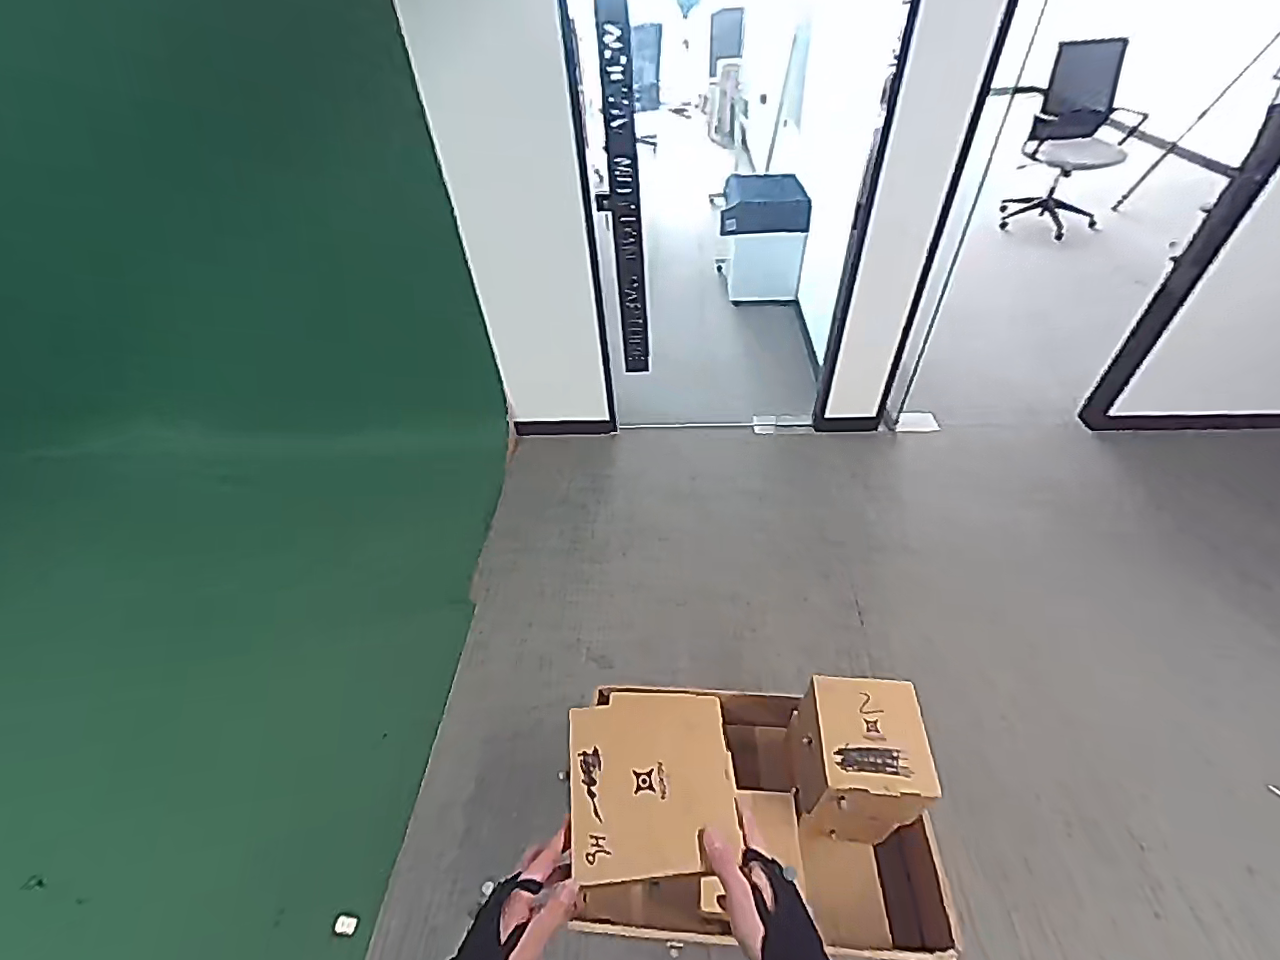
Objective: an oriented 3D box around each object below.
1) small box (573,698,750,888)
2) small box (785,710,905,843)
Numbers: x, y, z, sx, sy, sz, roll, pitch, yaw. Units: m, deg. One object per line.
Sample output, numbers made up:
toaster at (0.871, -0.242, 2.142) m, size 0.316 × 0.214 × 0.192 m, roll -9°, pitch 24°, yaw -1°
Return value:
small box at (0.011, 0.367, 0.632) m, size 0.179 × 0.176 × 0.168 m, roll -2°, pitch 51°, yaw -6°
small box at (0.375, 0.563, 1.028) m, size 0.168 × 0.176 × 0.179 m, roll 2°, pitch 46°, yaw 6°
